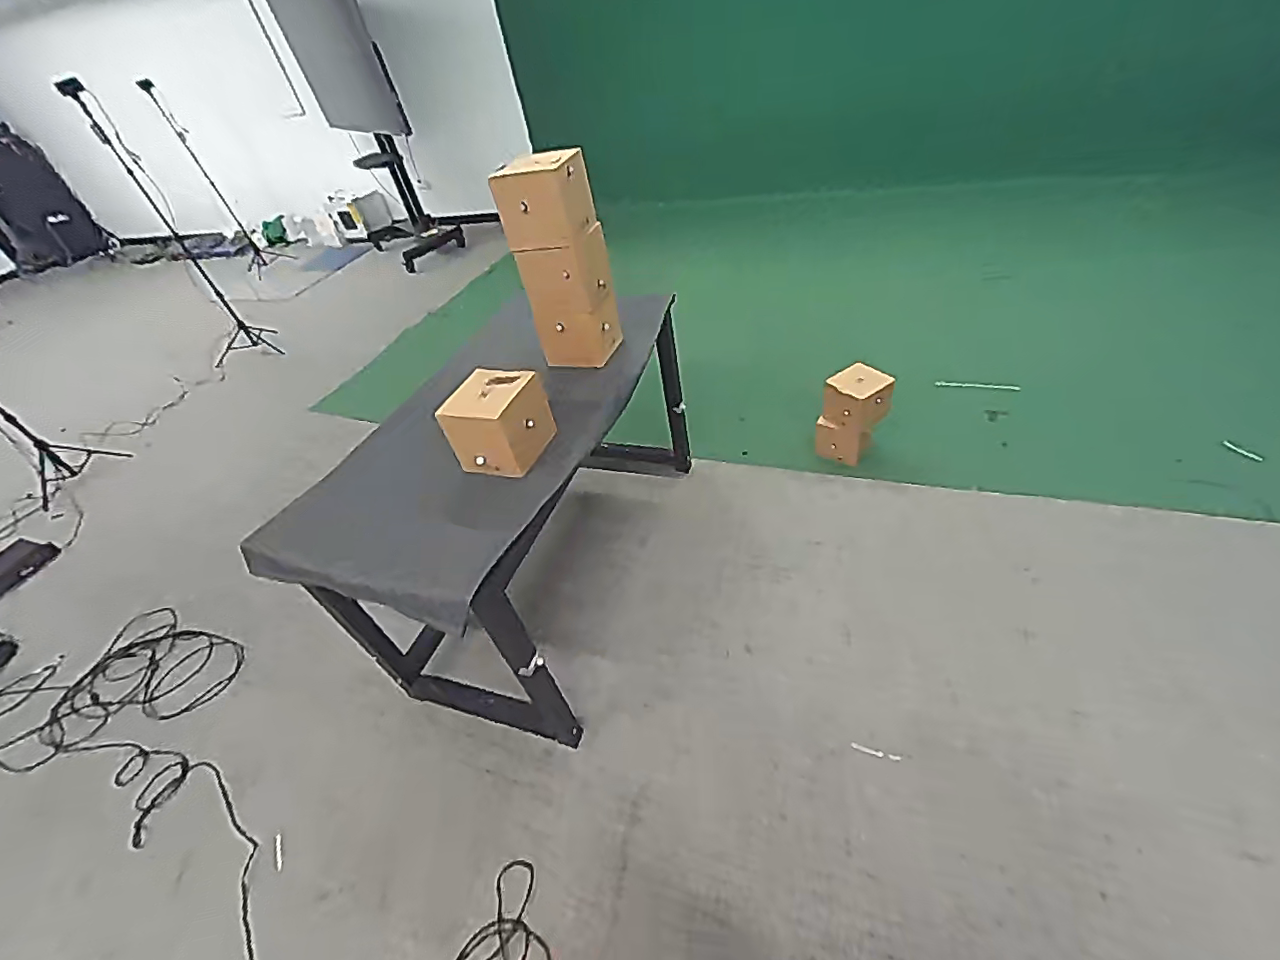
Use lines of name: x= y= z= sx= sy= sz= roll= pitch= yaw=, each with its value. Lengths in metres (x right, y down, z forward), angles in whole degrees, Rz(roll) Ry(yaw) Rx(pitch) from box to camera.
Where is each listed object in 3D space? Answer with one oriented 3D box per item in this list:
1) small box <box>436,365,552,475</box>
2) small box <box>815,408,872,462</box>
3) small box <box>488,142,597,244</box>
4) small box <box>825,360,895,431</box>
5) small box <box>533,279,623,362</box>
small box: x=-0.314 y=-0.137 z=1.216 sx=0.168 sy=0.176 sz=0.179 roll=7 pitch=47 yaw=22
small box: x=0.792 y=-0.197 z=2.097 sx=0.168 sy=0.176 sz=0.179 roll=22 pitch=52 yaw=31
small box: x=-0.222 y=-0.676 z=1.282 sx=0.179 sy=0.176 sz=0.168 roll=4 pitch=46 yaw=19
small box: x=0.794 y=-0.306 z=1.972 sx=0.179 sy=0.176 sz=0.168 roll=-29 pitch=46 yaw=-18
small box: x=-0.164 y=-0.441 z=1.504 sx=0.179 sy=0.176 sz=0.168 roll=7 pitch=46 yaw=21
